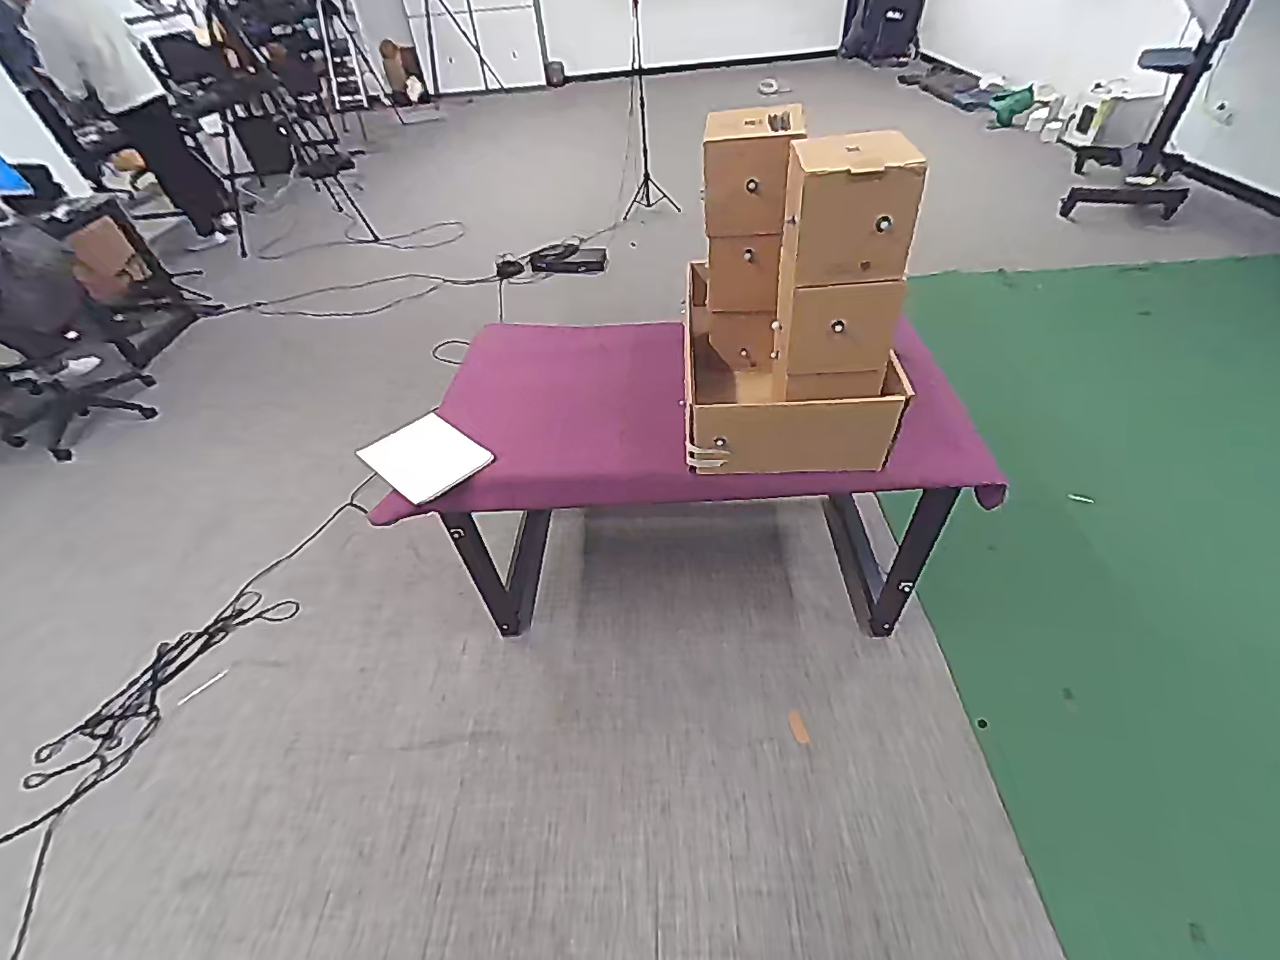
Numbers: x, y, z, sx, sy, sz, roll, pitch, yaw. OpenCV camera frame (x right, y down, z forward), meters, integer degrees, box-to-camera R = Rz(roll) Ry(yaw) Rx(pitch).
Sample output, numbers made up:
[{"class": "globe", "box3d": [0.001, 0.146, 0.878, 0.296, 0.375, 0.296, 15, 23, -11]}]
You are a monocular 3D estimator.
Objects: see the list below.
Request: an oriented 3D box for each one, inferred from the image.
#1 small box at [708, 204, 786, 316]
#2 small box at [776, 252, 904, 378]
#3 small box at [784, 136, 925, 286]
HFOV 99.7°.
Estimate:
[{"class": "small box", "box3d": [0.238, -0.465, 1.151, 0.179, 0.176, 0.168, 2, 48, 10]}, {"class": "small box", "box3d": [0.343, -0.298, 0.963, 0.179, 0.176, 0.168, -2, 44, 8]}, {"class": "small box", "box3d": [0.323, -0.418, 0.855, 0.168, 0.176, 0.179, -1, 44, 8]}]
